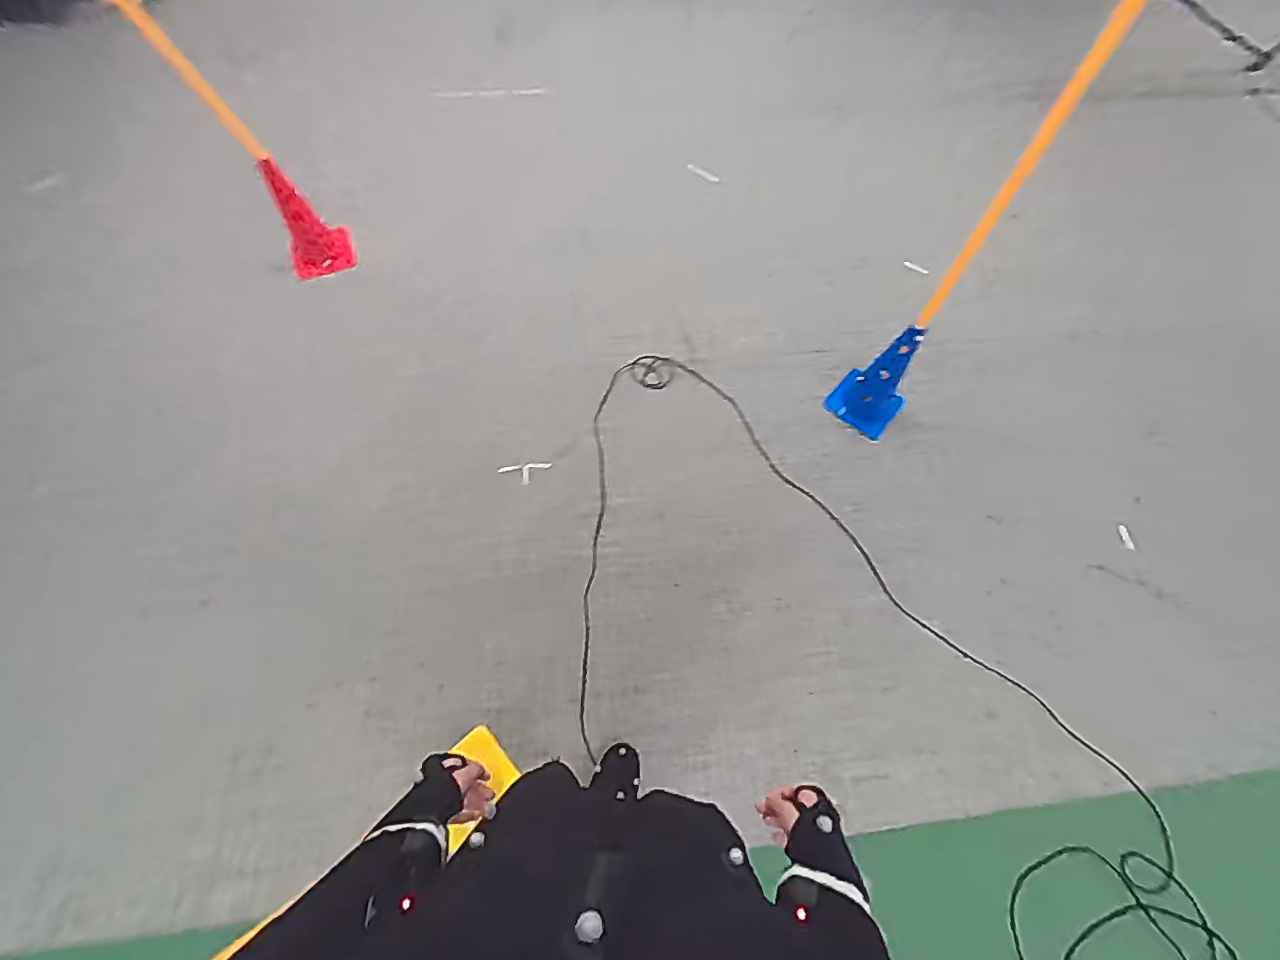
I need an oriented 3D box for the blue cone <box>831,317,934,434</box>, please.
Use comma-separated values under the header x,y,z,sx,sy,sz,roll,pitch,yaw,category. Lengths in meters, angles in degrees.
x,y,z,sx,sy,sz,roll,pitch,yaw,category
0.706,-0.320,1.524,0.192,0.380,0.193,37,68,14,blue cone
